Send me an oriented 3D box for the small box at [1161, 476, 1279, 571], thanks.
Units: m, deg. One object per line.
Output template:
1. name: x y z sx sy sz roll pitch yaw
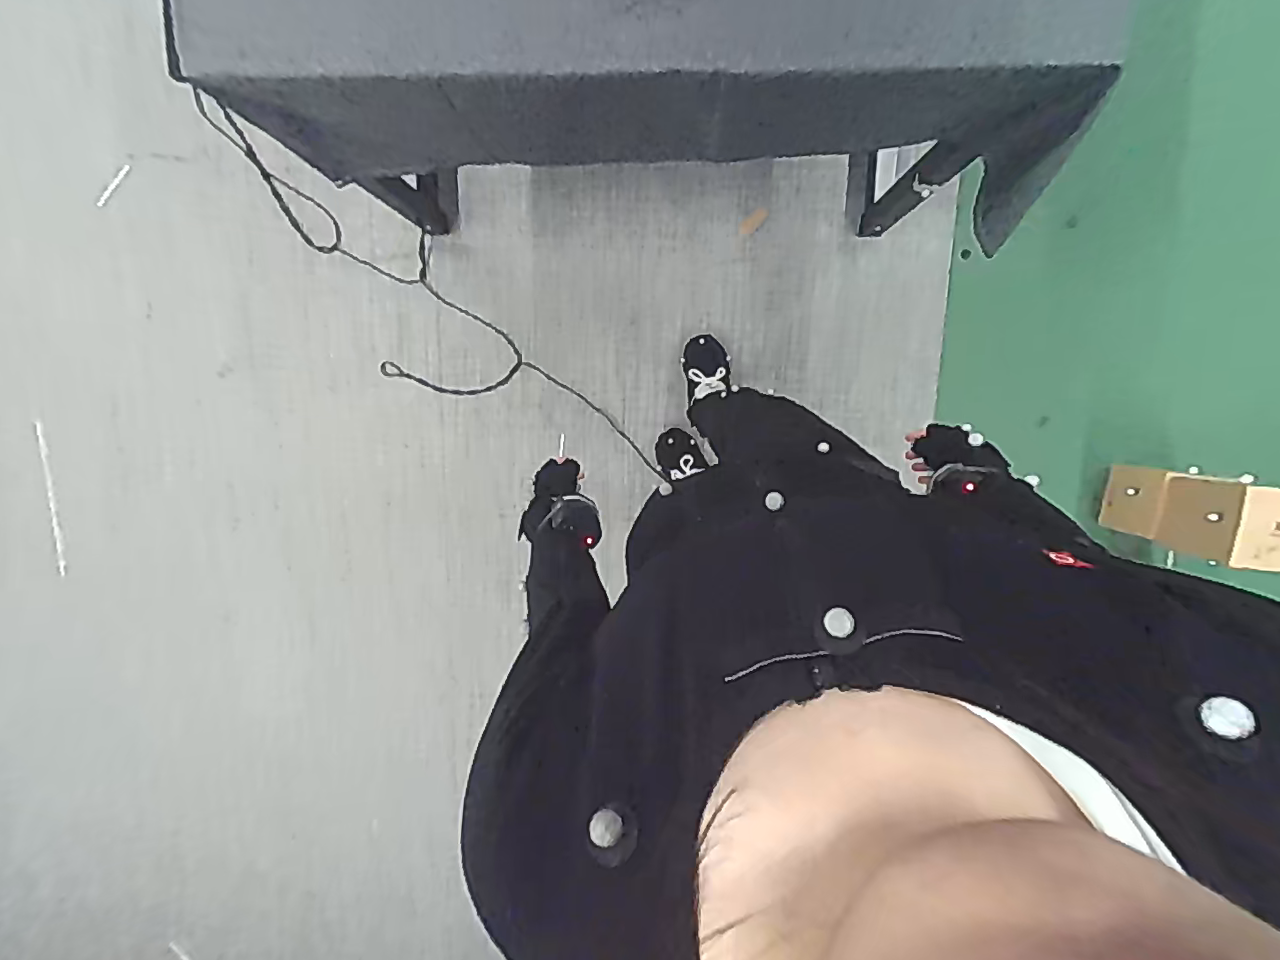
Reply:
1. small box: 1.306 0.090 1.182 0.168 0.176 0.179 6 98 2

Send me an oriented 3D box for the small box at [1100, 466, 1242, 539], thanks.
1. small box: 1.305 0.059 1.344 0.179 0.176 0.168 7 98 1

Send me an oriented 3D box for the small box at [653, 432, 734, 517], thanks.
1. small box: 0.138 -0.019 1.414 0.179 0.176 0.168 11 111 18
